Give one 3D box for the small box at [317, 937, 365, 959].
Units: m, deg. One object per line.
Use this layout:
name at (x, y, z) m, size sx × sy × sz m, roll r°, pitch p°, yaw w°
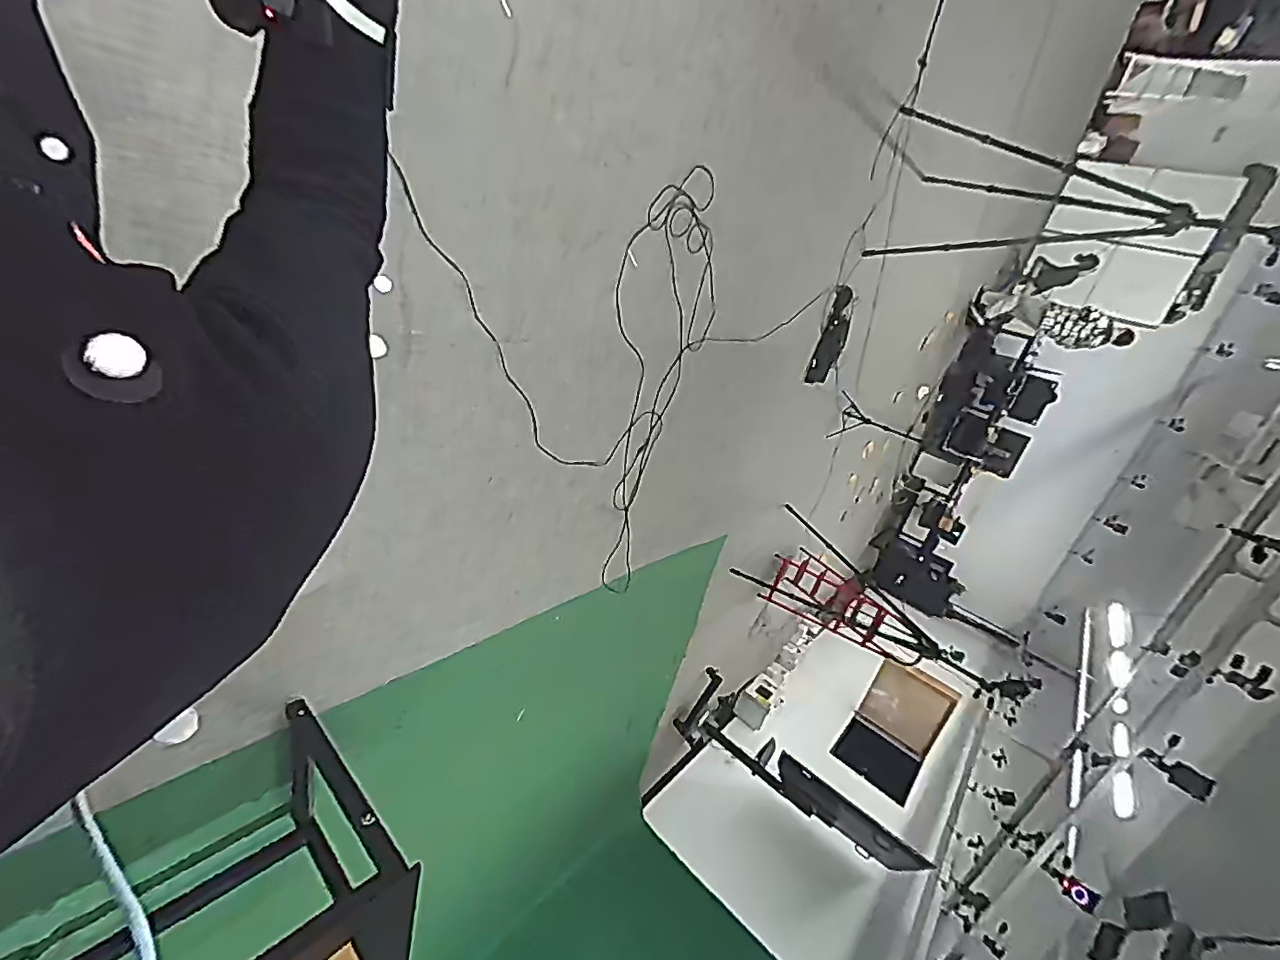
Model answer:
small box at (-0.730, 1.257, 1.290) m, size 0.168 × 0.176 × 0.179 m, roll -23°, pitch 132°, yaw -43°
